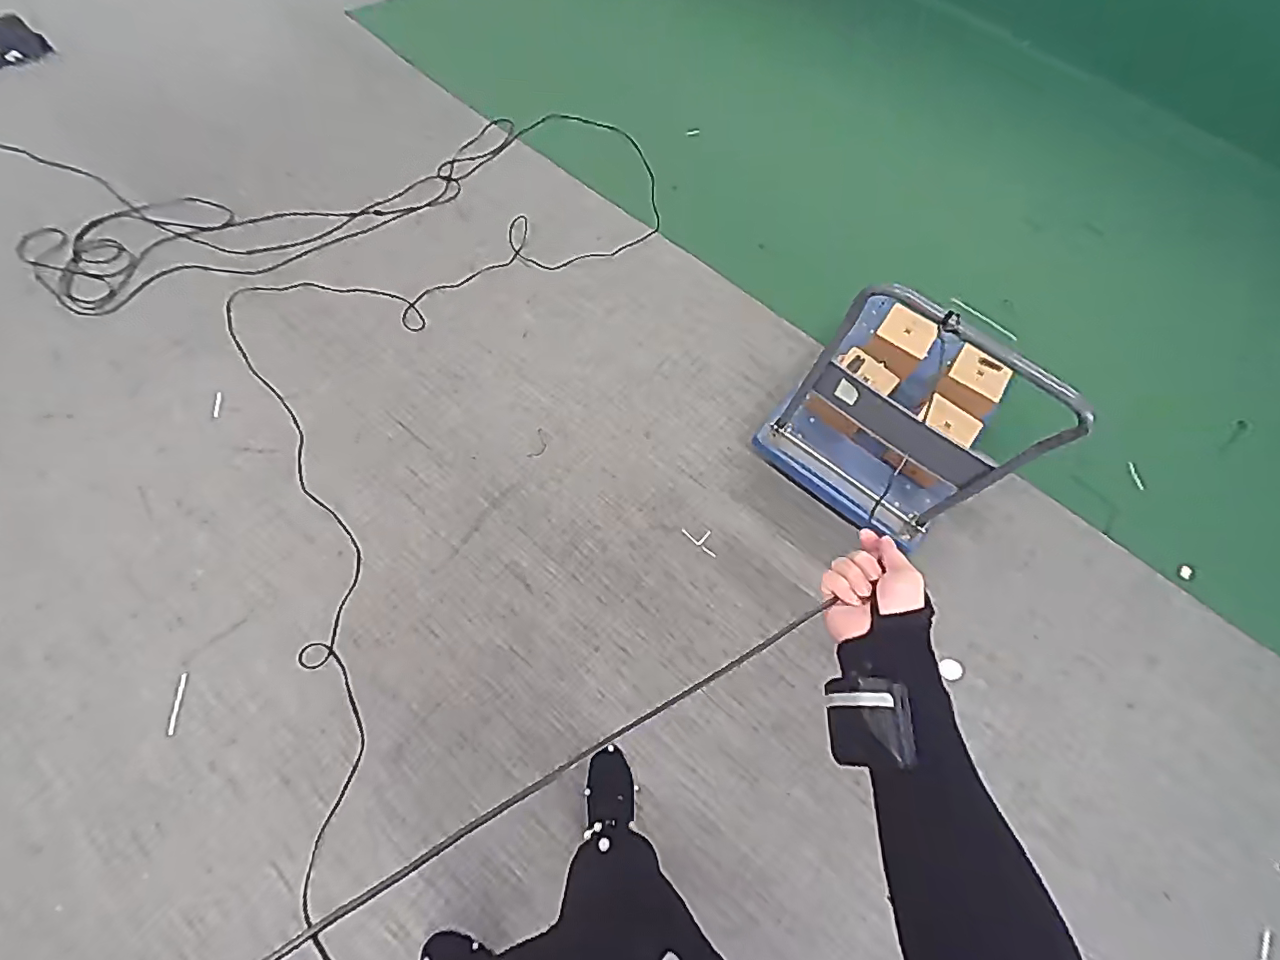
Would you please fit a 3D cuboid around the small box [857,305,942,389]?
[{"bbox_3d":[0.848,-0.434,1.788,0.168,0.176,0.179,35,65,10],"label":"small box"}]

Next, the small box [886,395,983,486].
[{"bbox_3d":[0.881,-0.116,1.634,0.168,0.176,0.179,39,66,12],"label":"small box"}]

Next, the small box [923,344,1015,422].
[{"bbox_3d":[1.052,-0.294,1.743,0.168,0.176,0.179,35,66,11],"label":"small box"}]
